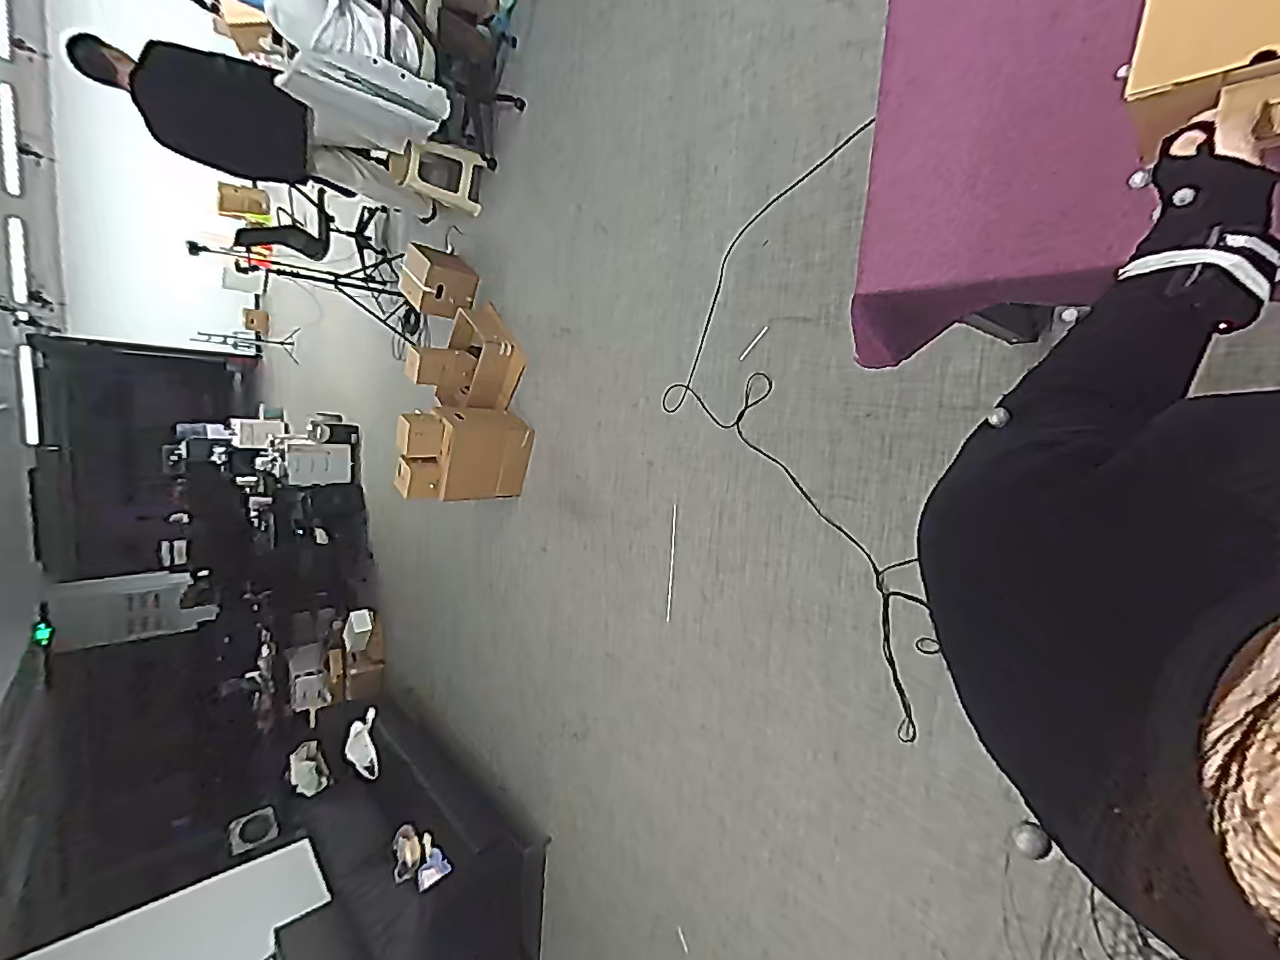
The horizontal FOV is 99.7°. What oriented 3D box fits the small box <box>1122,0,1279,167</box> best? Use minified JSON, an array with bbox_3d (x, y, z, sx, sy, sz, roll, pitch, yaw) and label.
[{"bbox_3d":[0.566,-0.418,0.484,0.168,0.176,0.179,15,102,46],"label":"small box"}]
